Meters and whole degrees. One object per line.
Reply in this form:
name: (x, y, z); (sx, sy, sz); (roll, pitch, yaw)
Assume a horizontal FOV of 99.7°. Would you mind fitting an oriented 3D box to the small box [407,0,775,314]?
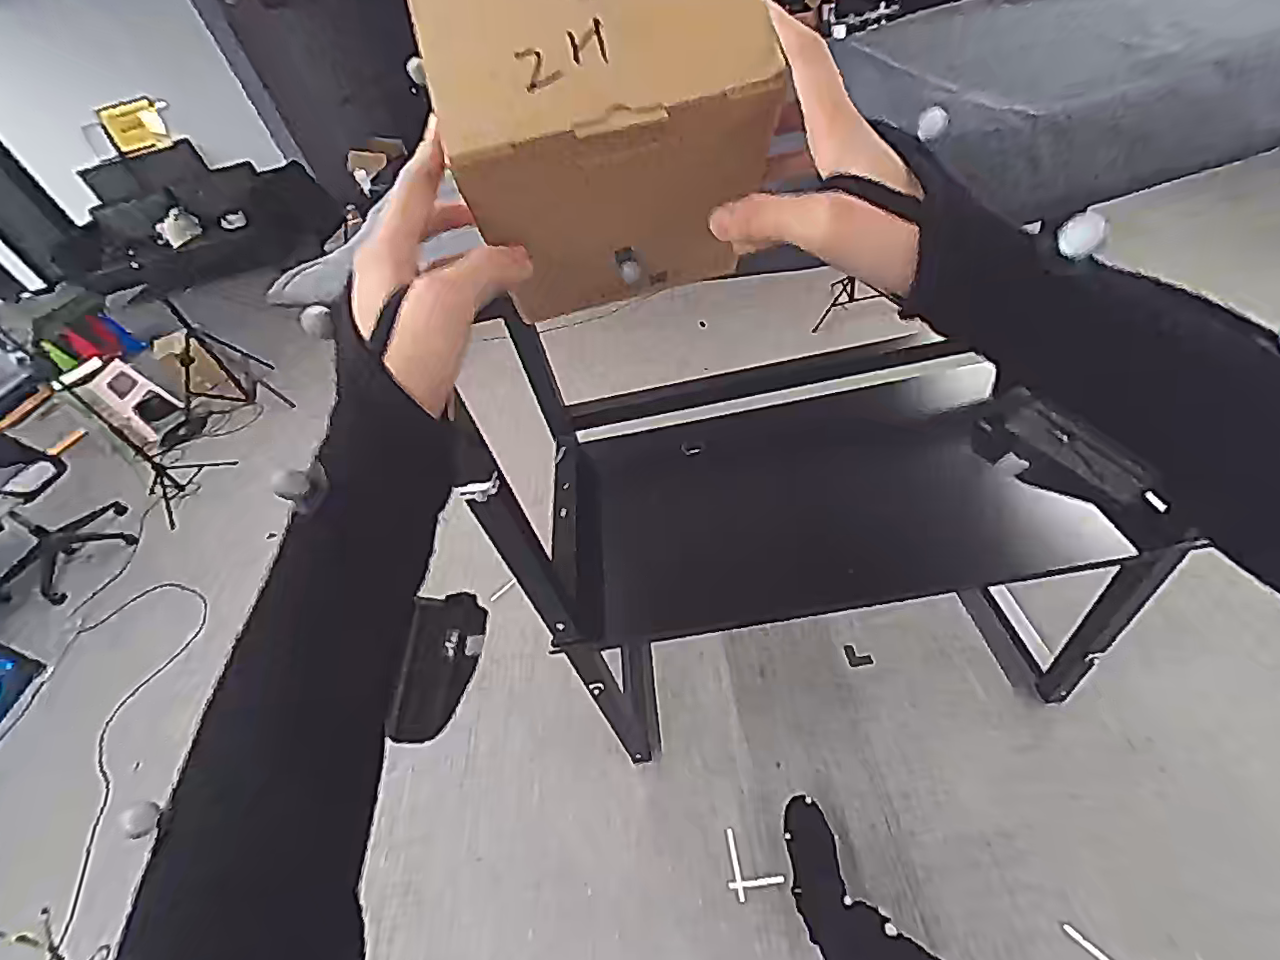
small box: (-0.035, -0.236, 0.344); (0.168, 0.176, 0.179); (-14, 80, -2)
